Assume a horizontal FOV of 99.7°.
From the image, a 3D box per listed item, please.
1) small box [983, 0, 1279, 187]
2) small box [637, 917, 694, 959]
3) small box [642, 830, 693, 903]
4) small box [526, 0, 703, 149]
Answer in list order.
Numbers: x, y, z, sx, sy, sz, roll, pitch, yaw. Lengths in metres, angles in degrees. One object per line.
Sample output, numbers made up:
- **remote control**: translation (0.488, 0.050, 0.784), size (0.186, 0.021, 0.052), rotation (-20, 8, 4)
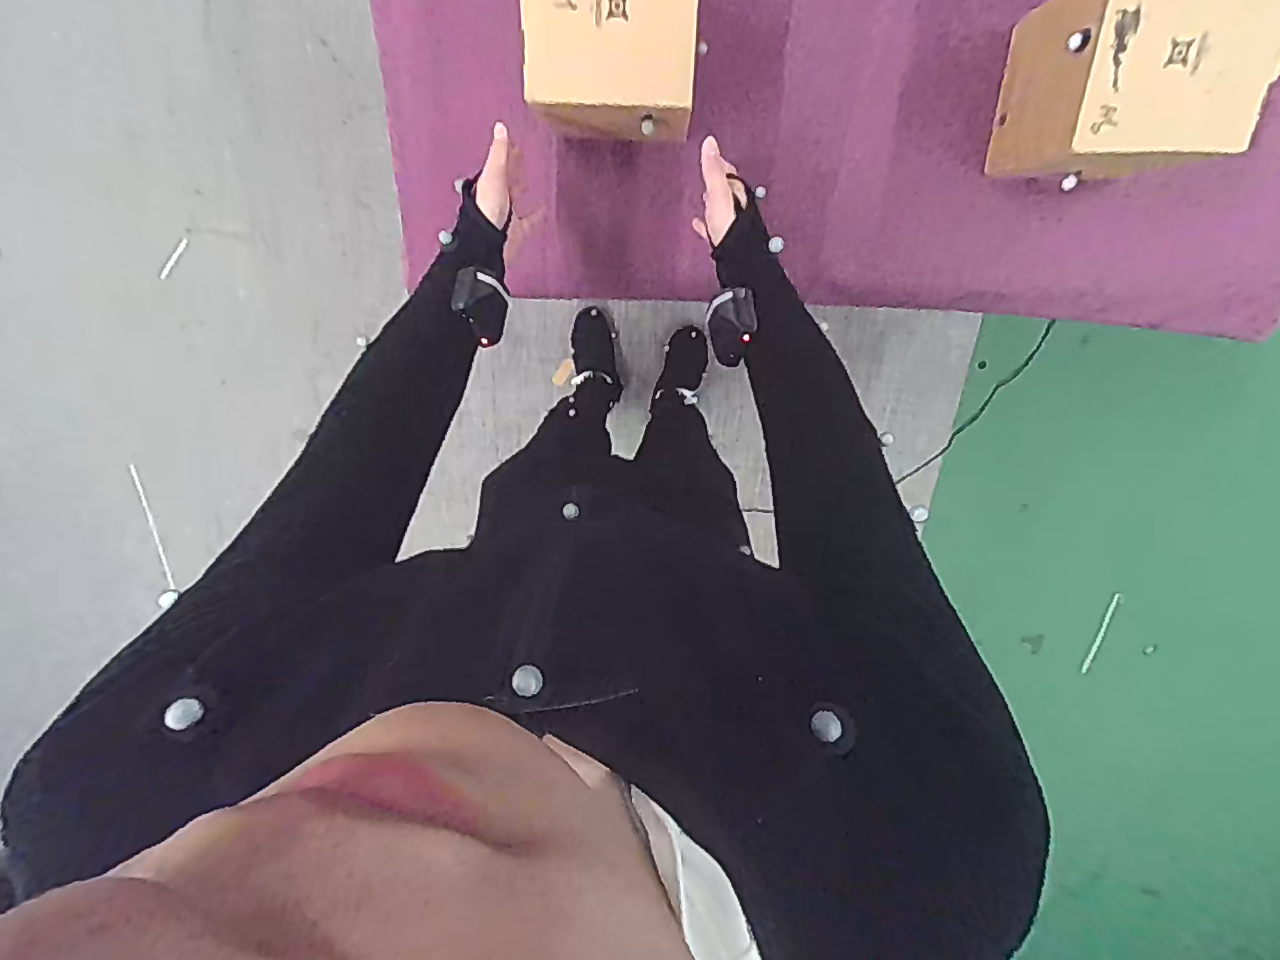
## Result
- **small box**: translation (0.528, -0.430, 0.597), size (0.179, 0.176, 0.168), rotation (2, 111, 3)
- **small box**: translation (0.087, 1.630, 1.832), size (0.179, 0.176, 0.168), rotation (10, 110, 0)
- **small box**: translation (0.109, 1.529, 2.144), size (0.179, 0.176, 0.168), rotation (8, 111, 1)
- **small box**: translation (-0.024, -0.487, 0.610), size (0.179, 0.176, 0.168), rotation (3, 111, 2)
